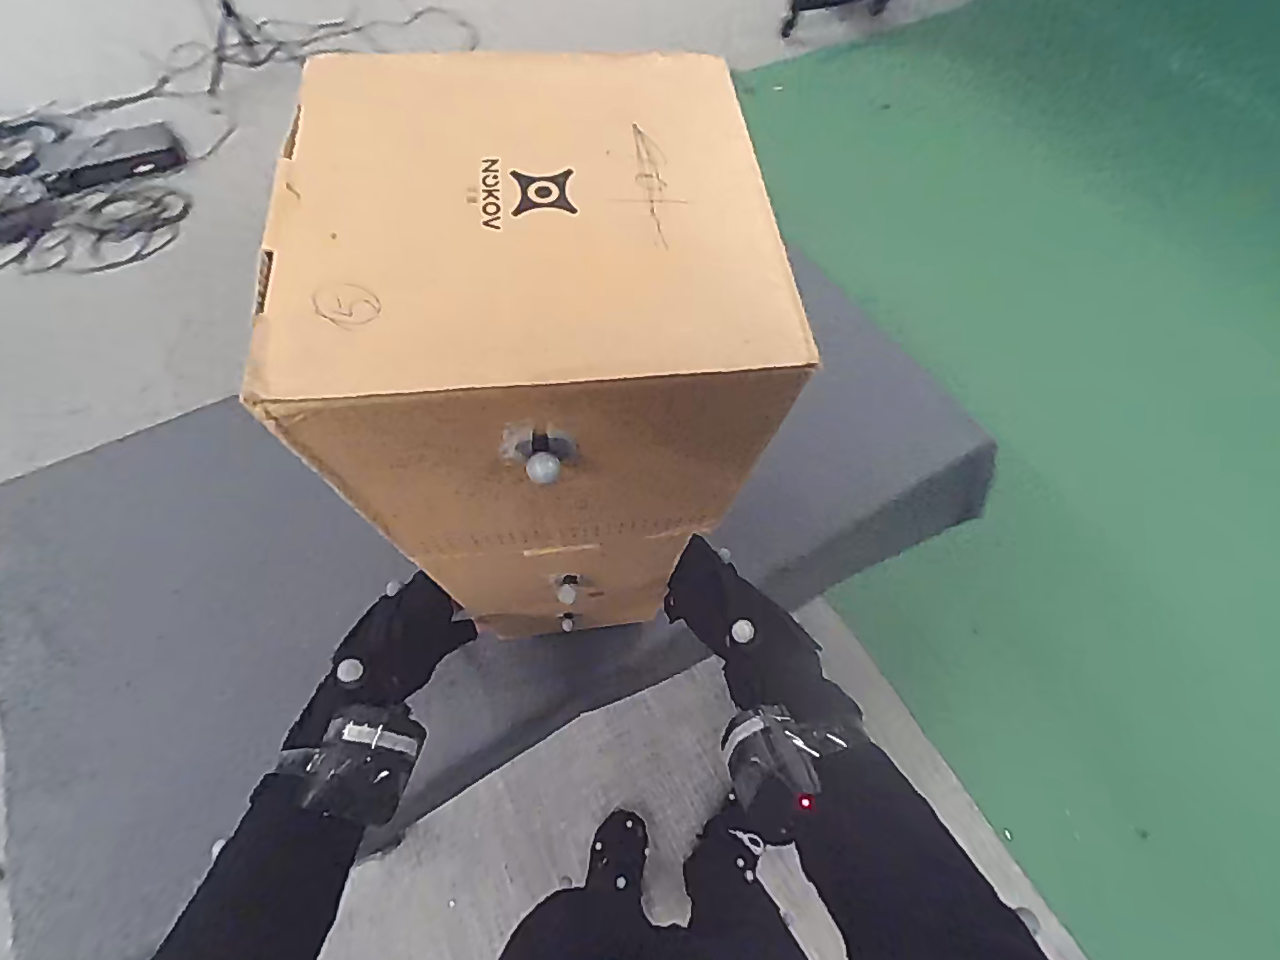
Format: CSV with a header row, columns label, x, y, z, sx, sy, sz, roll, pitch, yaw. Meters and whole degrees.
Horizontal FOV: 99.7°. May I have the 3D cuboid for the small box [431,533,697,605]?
label,x,y,z,sx,sy,sz,roll,pitch,yaw
small box,-0.058,-0.004,0.430,0.168,0.176,0.179,-6,66,-7

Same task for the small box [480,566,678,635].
label,x,y,z,sx,sy,sz,roll,pitch,yaw
small box,-0.066,0.064,0.578,0.179,0.176,0.168,-5,66,-6
